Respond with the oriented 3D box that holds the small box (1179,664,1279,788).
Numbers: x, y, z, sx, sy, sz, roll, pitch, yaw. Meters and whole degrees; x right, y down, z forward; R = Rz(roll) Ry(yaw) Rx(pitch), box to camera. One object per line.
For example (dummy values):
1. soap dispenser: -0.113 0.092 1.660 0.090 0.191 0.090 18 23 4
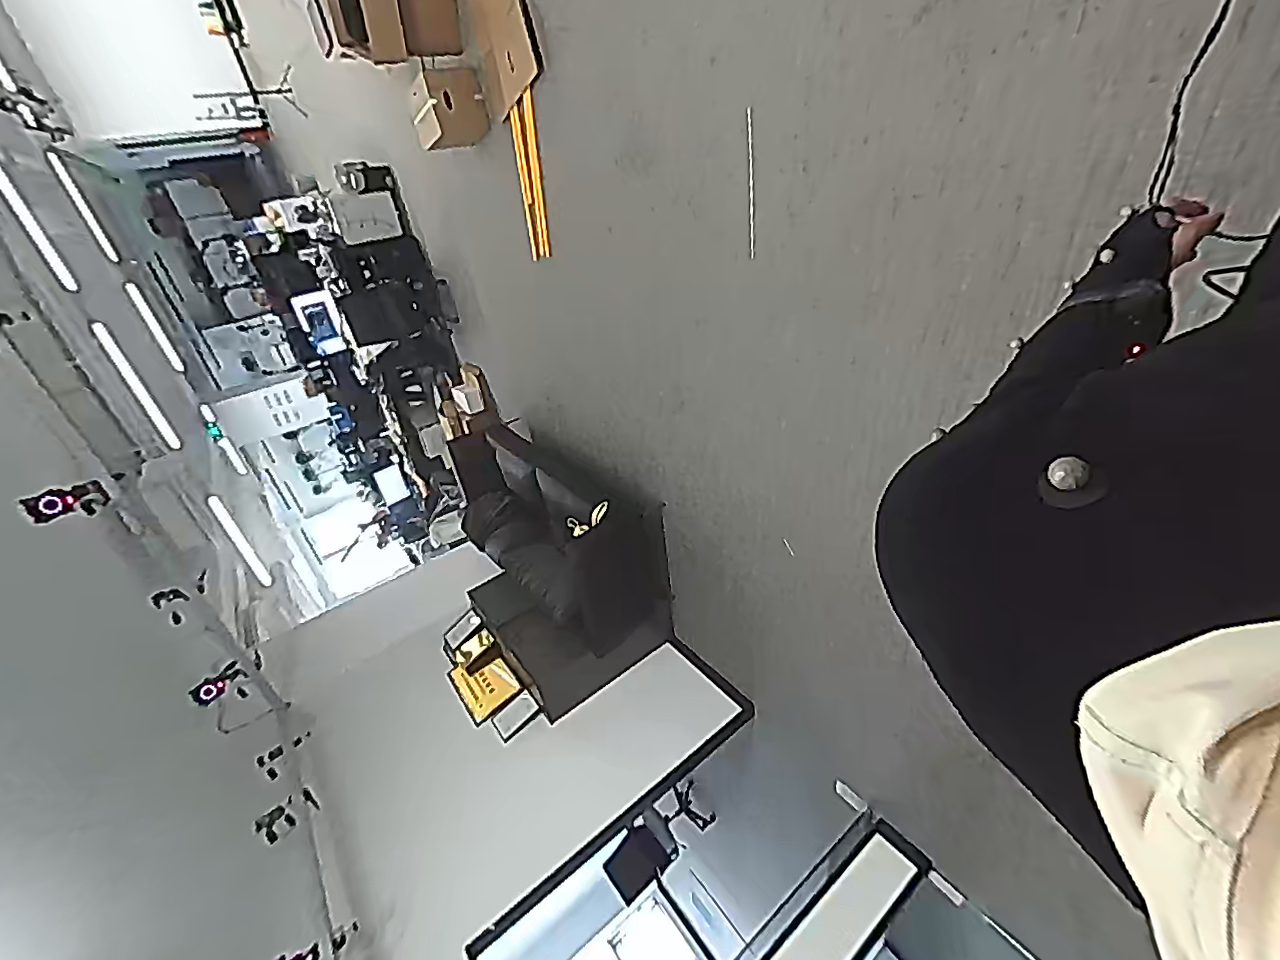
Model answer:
1. small box: 1.484 0.593 1.317 0.168 0.176 0.179 33 141 44
